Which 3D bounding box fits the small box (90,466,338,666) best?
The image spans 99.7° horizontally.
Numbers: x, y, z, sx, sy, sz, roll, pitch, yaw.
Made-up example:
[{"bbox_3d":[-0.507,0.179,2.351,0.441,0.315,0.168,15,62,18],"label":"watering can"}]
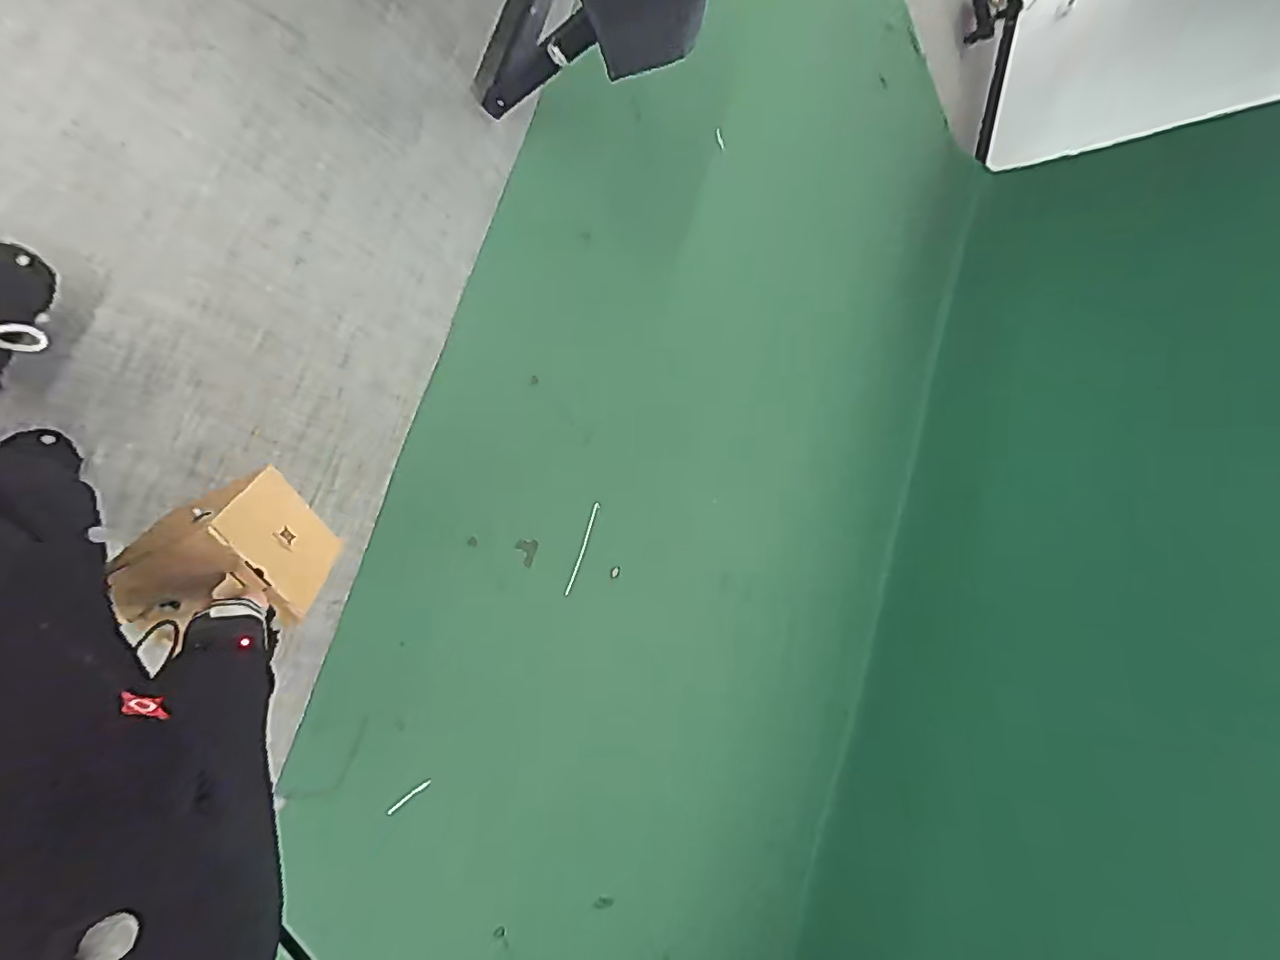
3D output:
[{"bbox_3d":[-0.558,0.111,0.731,0.176,0.179,0.168,-24,118,1],"label":"small box"}]
